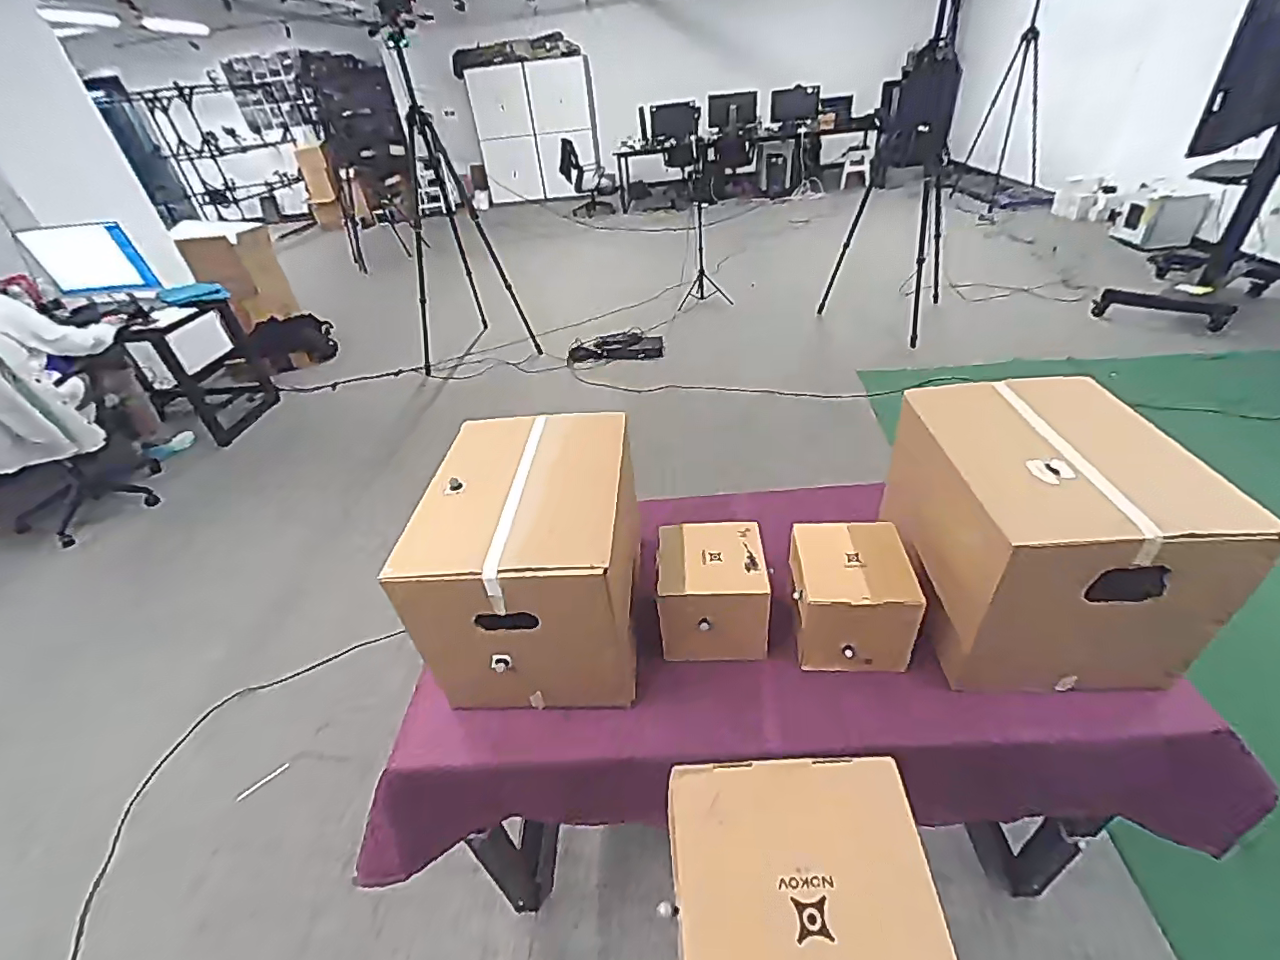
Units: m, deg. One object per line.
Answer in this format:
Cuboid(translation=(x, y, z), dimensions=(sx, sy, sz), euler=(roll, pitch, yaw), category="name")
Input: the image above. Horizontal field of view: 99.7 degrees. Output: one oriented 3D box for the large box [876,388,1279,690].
Cuboid(translation=(0.628, 0.082, 0.891), dimensions=(0.320, 0.320, 0.408), euler=(-3, 37, 6), category="large box")
